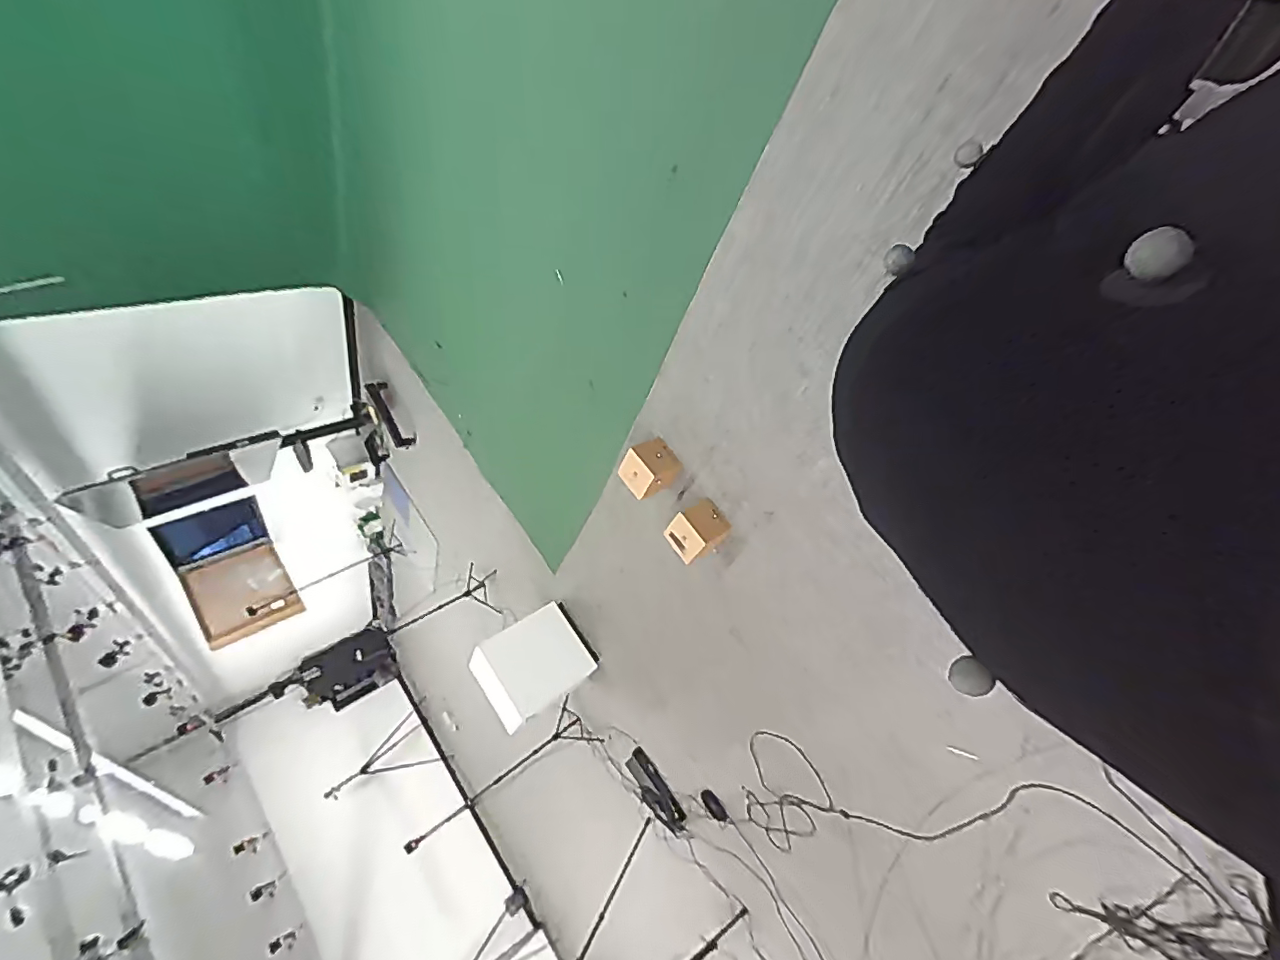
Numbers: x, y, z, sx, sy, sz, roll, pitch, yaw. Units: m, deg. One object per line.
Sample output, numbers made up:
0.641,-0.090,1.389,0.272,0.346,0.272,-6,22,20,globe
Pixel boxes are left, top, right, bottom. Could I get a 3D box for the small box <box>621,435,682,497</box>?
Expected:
0.053,-0.062,2.264,0.168,0.176,0.179,51,141,19,small box
